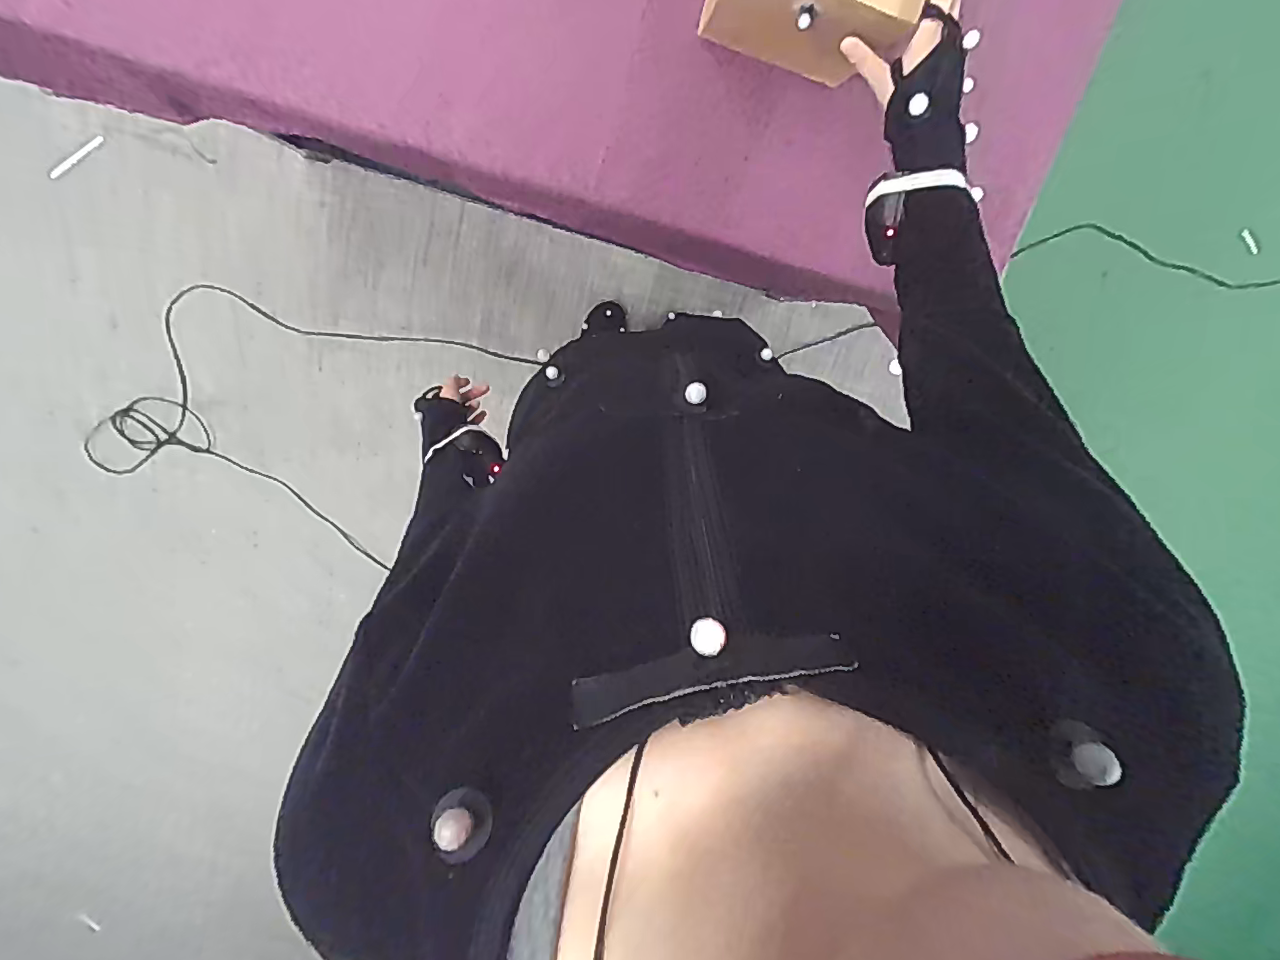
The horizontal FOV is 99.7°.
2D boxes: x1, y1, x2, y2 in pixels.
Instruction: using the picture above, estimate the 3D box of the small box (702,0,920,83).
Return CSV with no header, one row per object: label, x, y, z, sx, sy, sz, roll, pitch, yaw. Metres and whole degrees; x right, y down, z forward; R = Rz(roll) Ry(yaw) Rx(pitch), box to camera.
small box,0.174,-0.527,0.524,0.179,0.176,0.168,13,107,-11
